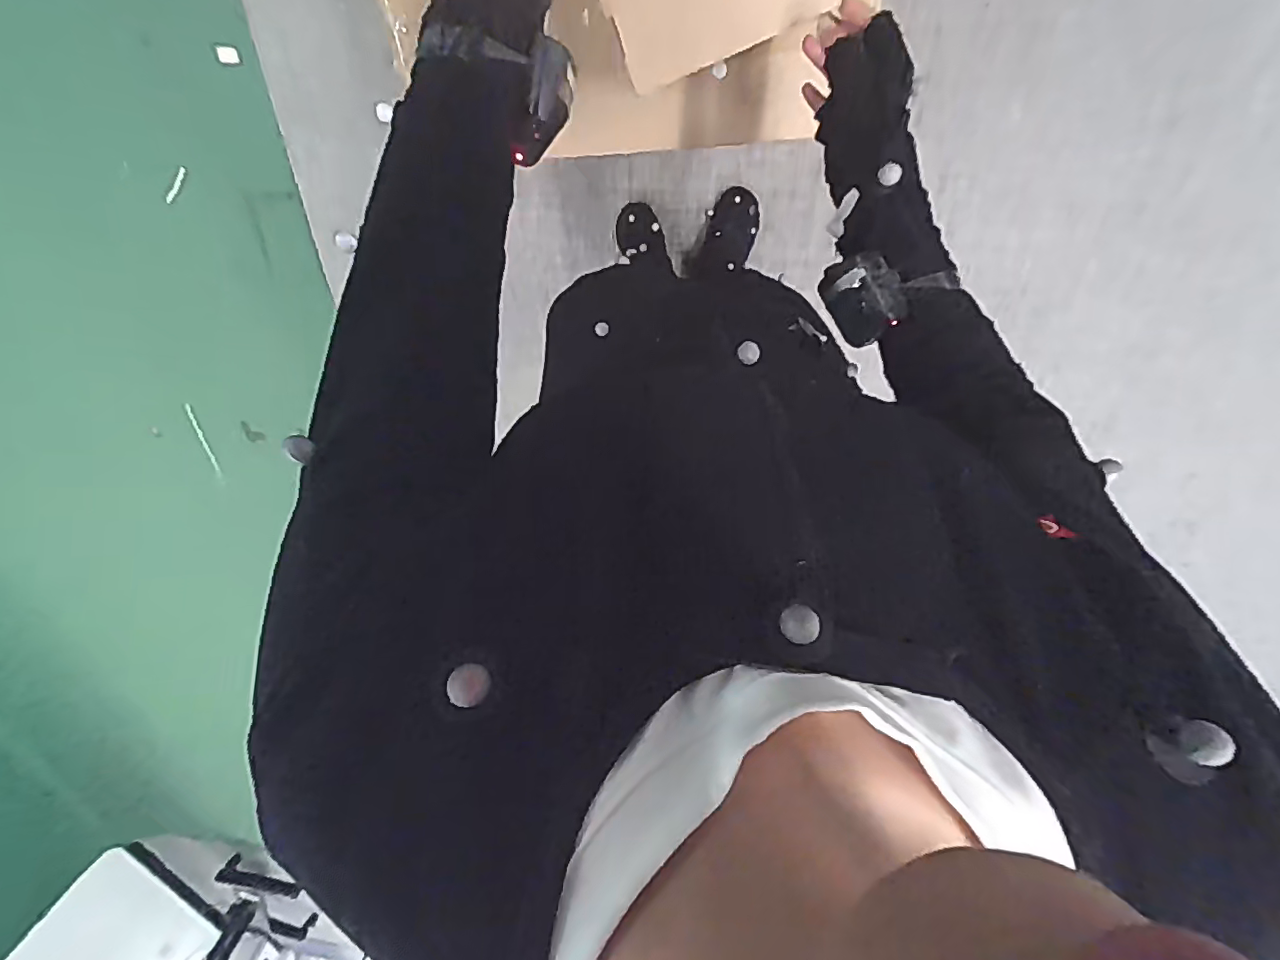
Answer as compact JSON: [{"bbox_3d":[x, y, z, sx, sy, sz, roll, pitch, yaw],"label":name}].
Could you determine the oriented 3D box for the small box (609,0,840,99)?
[{"bbox_3d":[0.064,-0.464,0.472,0.179,0.176,0.168,-13,125,20],"label":"small box"}]

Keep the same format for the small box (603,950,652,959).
[{"bbox_3d":[-0.046,1.700,1.793,0.168,0.176,0.179,2,124,9],"label":"small box"}]
